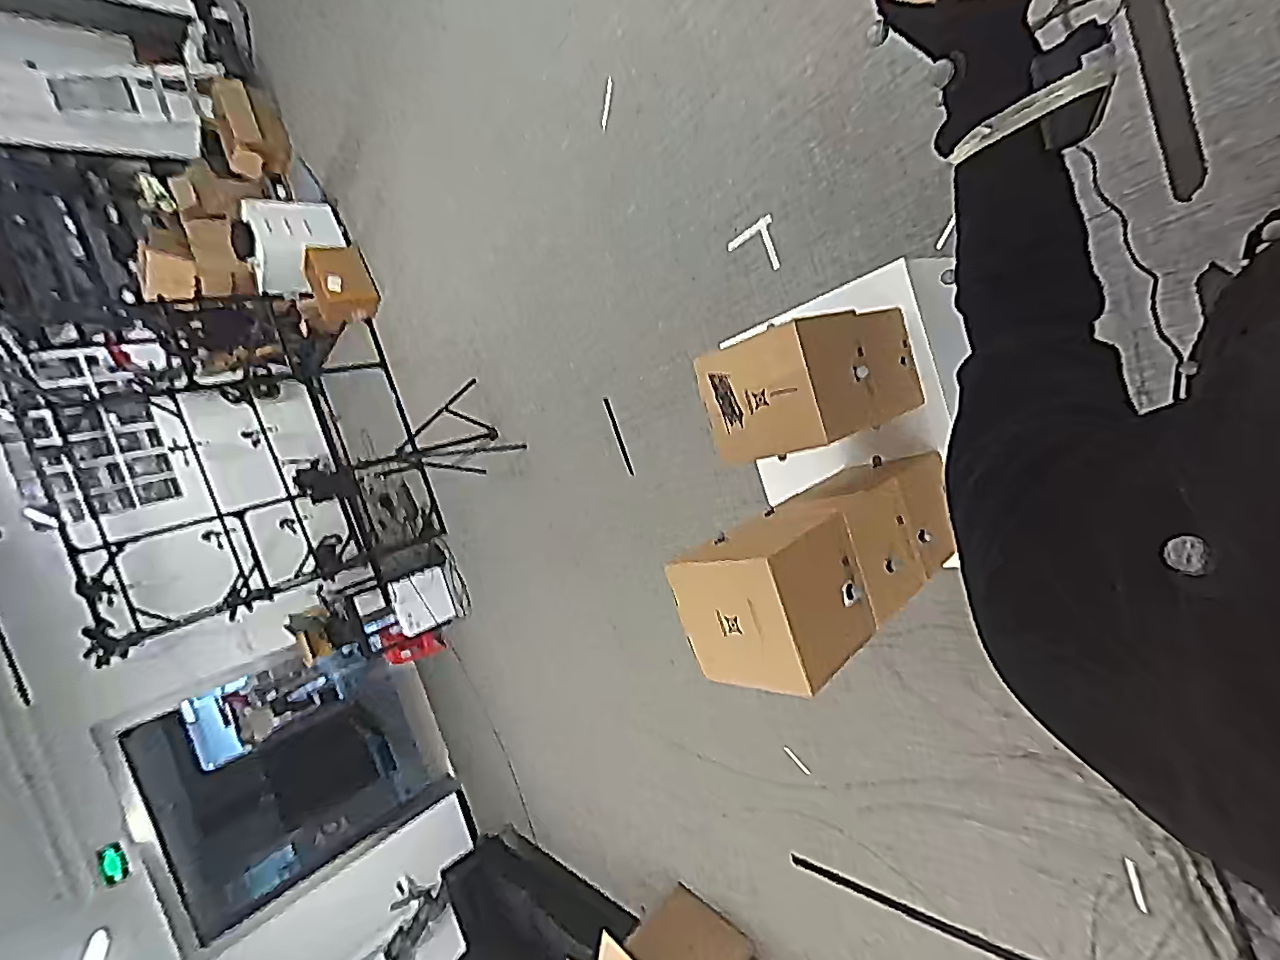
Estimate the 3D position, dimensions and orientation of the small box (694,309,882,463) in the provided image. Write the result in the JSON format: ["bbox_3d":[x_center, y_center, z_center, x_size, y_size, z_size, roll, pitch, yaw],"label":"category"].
[{"bbox_3d":[0.213,-0.133,0.776,0.179,0.176,0.168,-12,98,49],"label":"small box"}]

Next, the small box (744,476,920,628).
[{"bbox_3d":[0.287,0.103,0.798,0.179,0.176,0.168,-16,94,51],"label":"small box"}]

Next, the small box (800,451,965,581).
[{"bbox_3d":[0.404,0.059,0.903,0.179,0.176,0.168,-13,96,52],"label":"small box"}]

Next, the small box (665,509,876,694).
[{"bbox_3d":[0.167,0.147,0.698,0.179,0.176,0.168,-16,94,50],"label":"small box"}]
